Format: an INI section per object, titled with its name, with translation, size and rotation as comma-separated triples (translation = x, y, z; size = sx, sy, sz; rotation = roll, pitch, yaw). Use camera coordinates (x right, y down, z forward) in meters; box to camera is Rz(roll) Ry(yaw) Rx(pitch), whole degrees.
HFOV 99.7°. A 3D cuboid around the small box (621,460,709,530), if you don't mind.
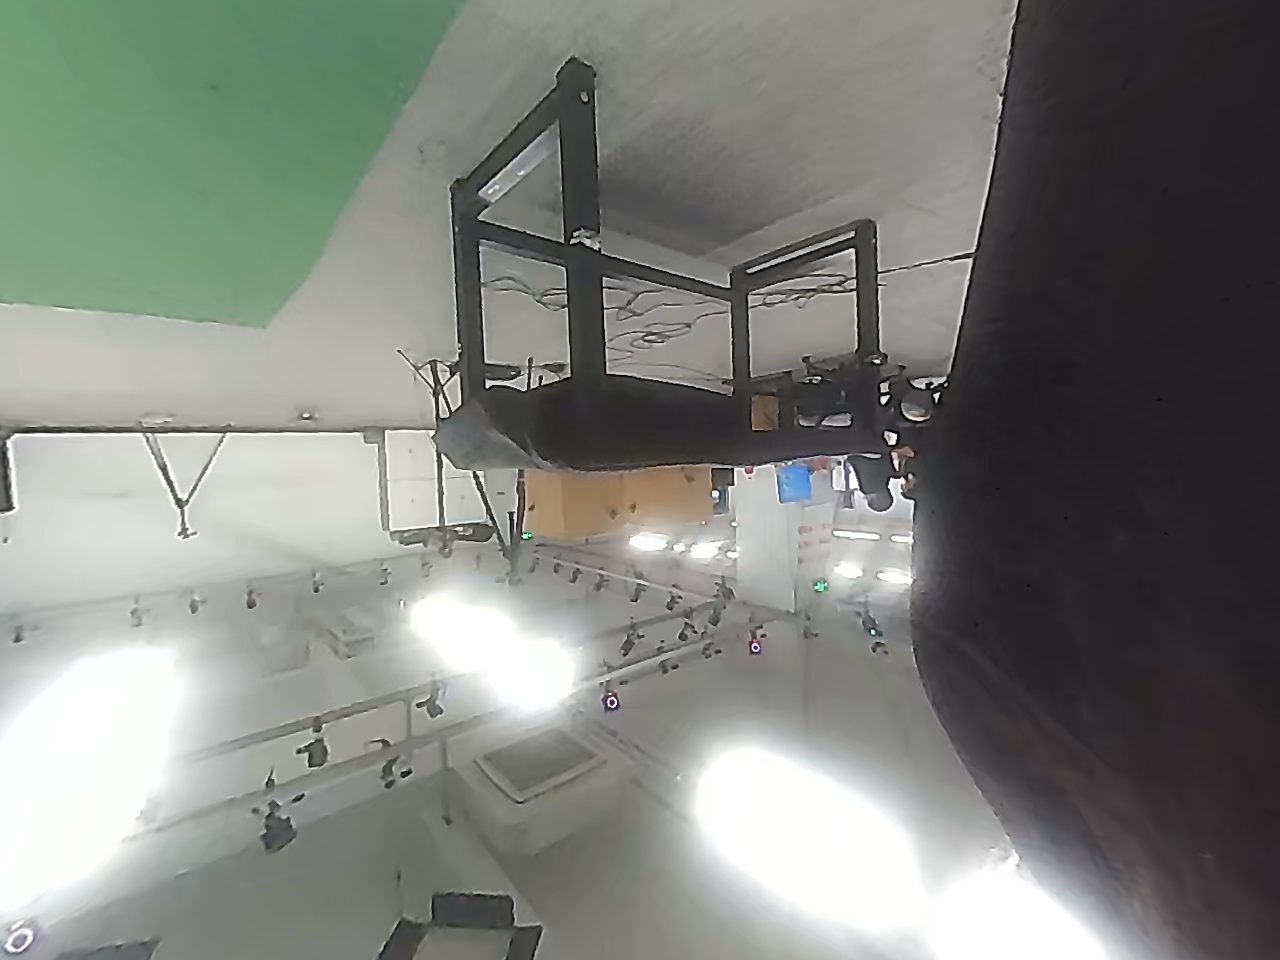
[small box]
translation = 0.066, 0.032, 1.423
size = 0.168, 0.176, 0.179
rotation = -5, -176, -40
